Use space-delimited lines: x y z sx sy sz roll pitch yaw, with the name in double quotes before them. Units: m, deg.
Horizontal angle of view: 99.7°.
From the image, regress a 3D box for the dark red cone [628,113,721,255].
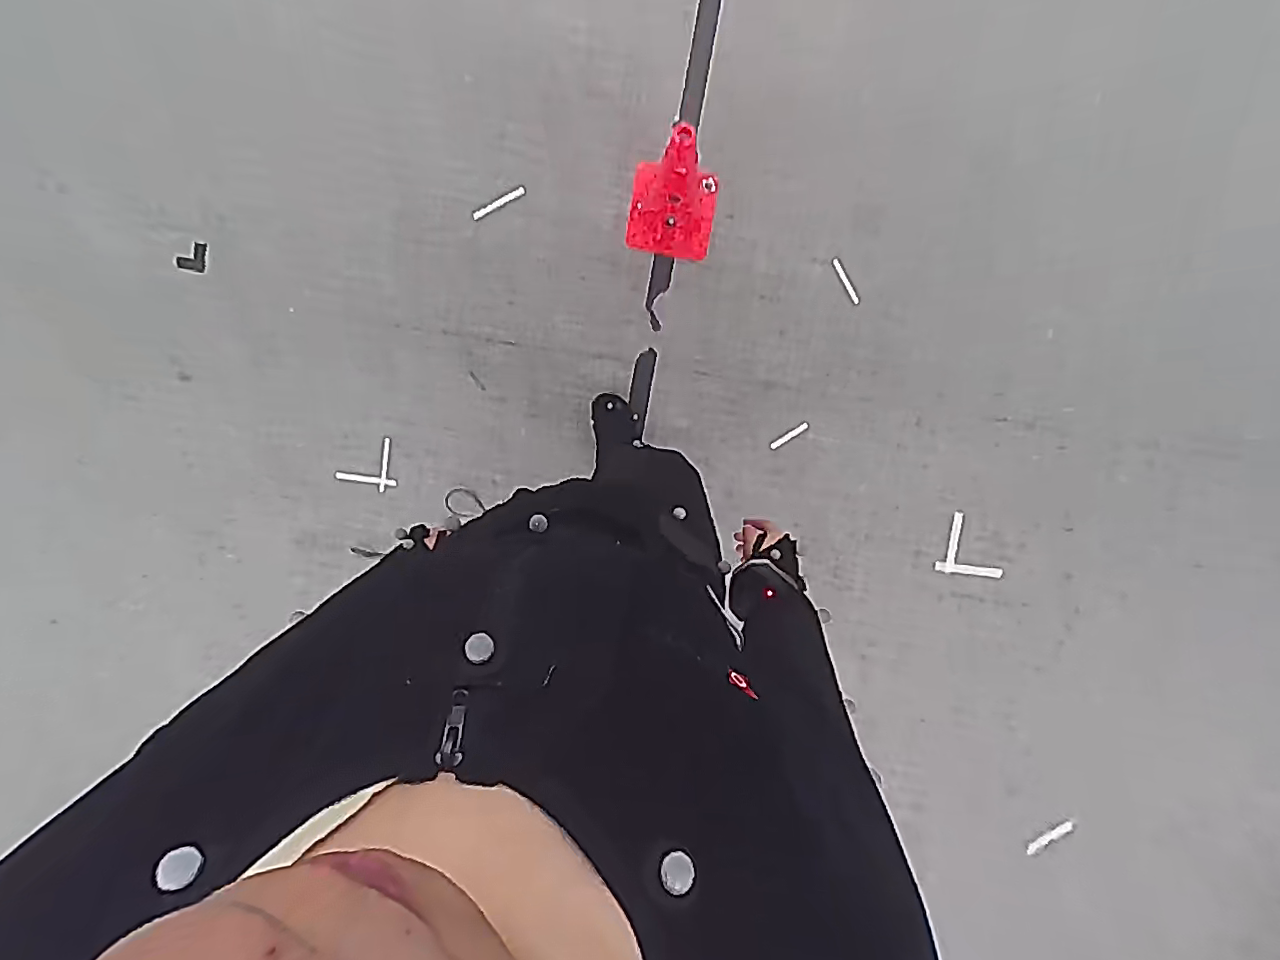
"dark red cone" 0.077 -0.619 1.096 0.201 0.394 0.202 9 97 0
